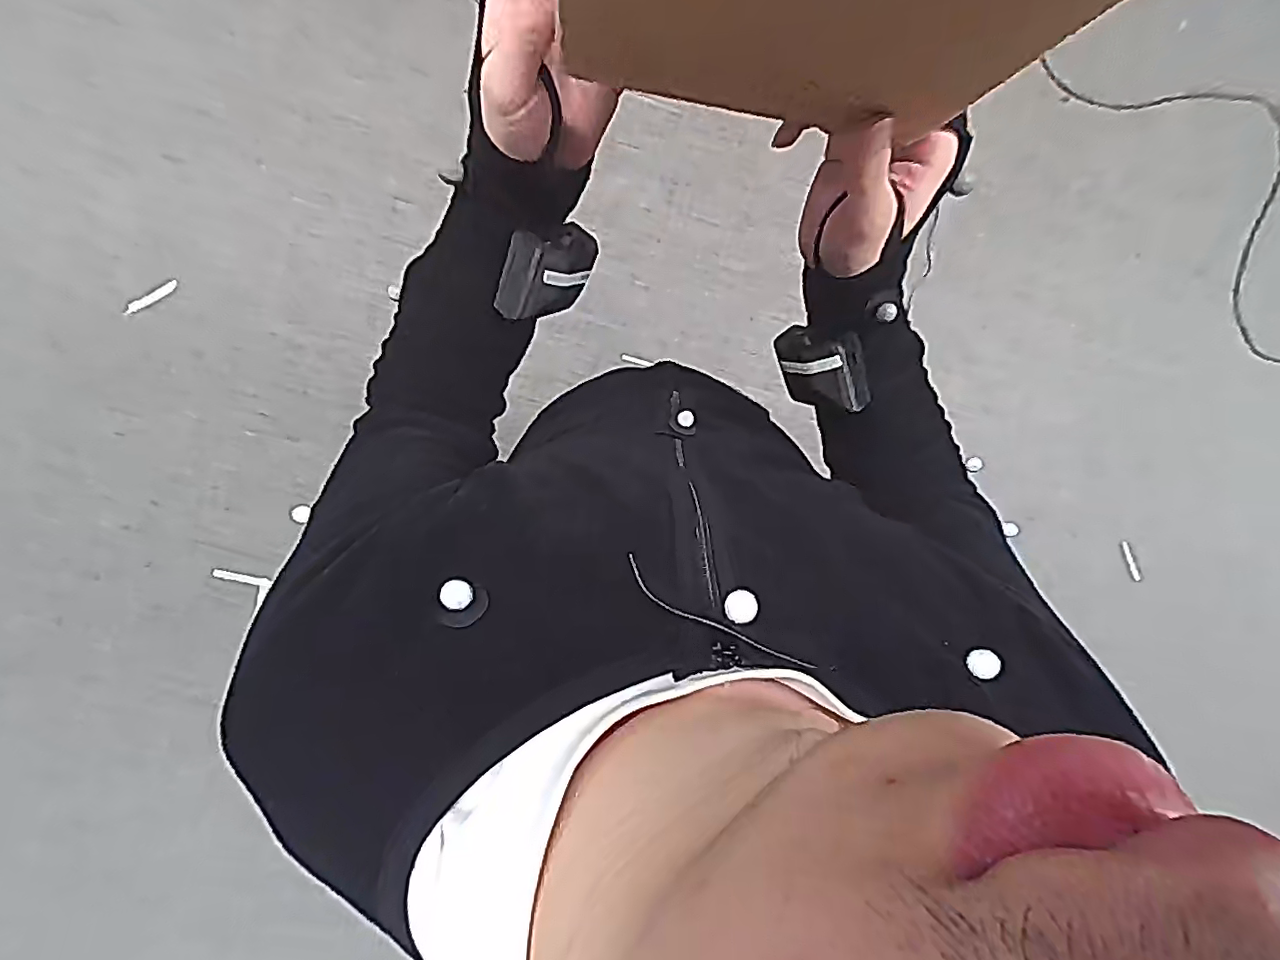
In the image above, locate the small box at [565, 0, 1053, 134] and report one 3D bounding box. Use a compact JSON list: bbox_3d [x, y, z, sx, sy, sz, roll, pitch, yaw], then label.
[{"bbox_3d":[0.067,-0.243,0.174,0.179,0.176,0.168,5,101,-8],"label":"small box"}]
